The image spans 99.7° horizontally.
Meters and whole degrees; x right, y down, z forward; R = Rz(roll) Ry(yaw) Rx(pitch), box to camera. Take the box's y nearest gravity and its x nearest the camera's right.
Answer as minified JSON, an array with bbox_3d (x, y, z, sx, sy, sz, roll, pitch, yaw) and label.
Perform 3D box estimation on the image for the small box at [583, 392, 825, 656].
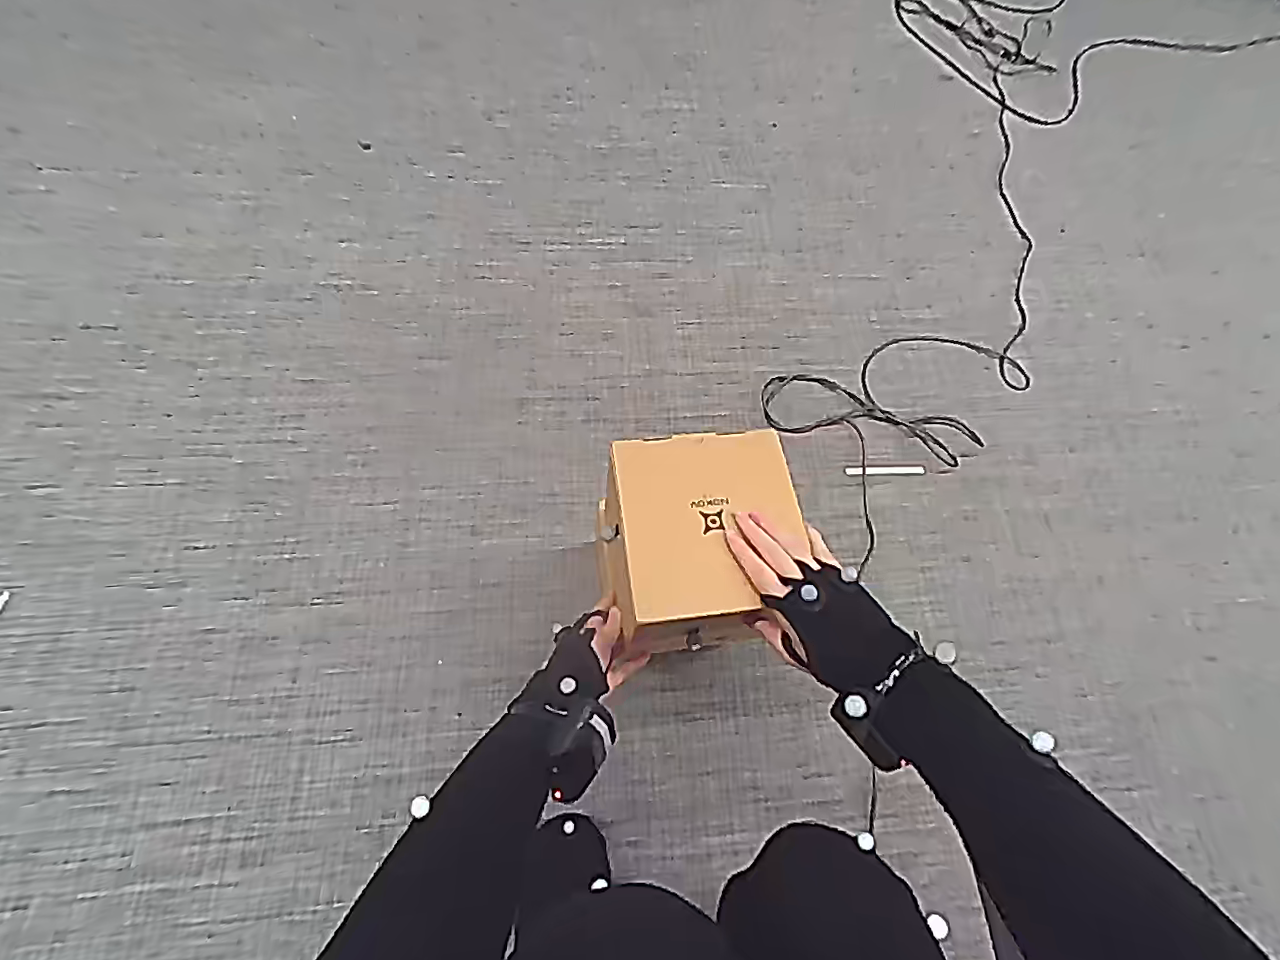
[{"bbox_3d":[0.062,0.040,0.526,0.179,0.176,0.168,-19,45,5],"label":"small box"}]
